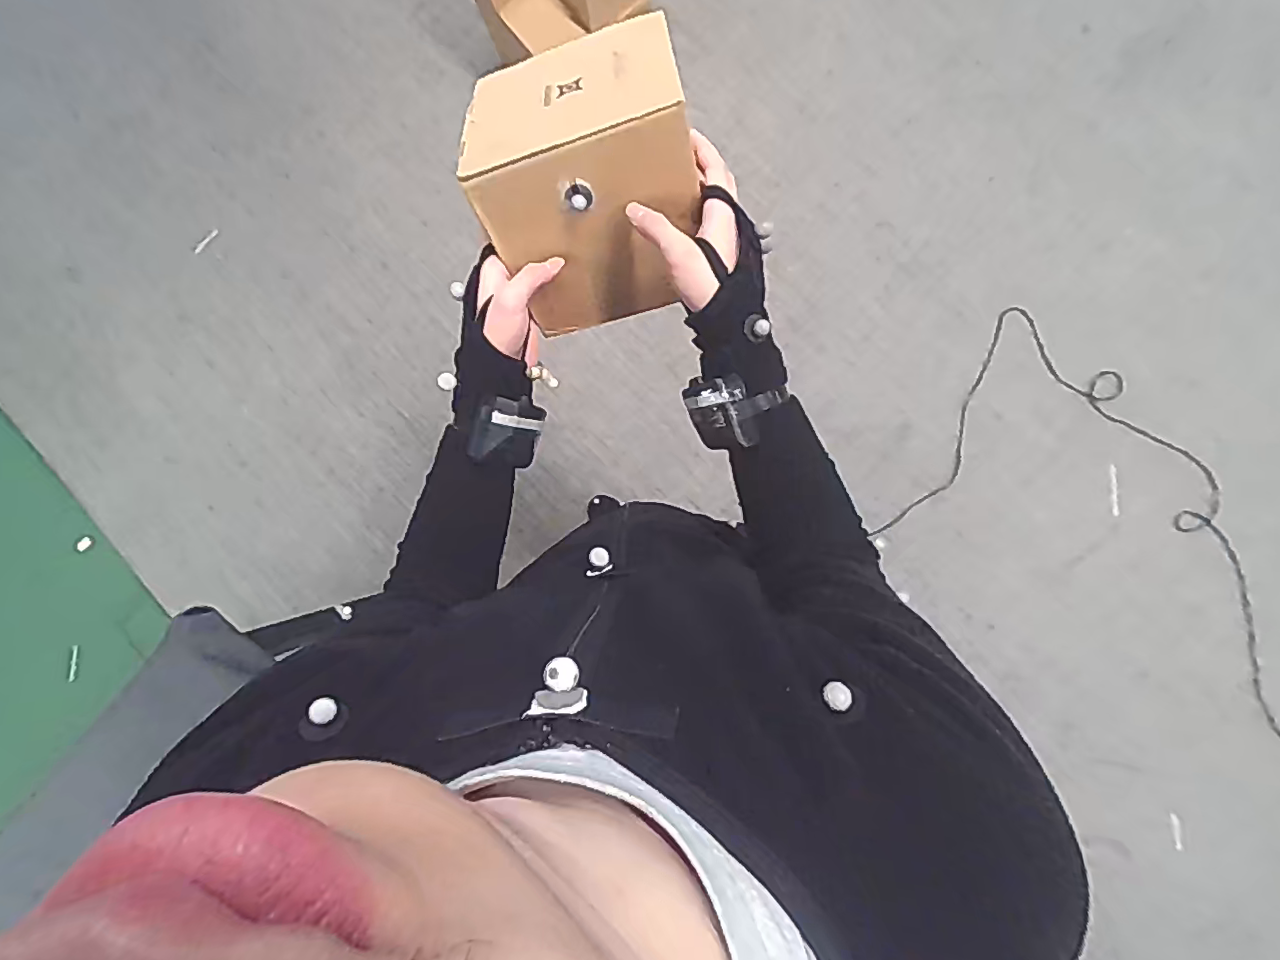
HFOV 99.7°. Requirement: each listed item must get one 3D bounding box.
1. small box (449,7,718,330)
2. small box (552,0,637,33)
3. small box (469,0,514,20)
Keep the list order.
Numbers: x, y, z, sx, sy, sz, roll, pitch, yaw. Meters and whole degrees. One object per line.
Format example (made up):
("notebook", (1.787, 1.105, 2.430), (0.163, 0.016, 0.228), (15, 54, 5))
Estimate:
("small box", (-0.038, -0.258, 0.474), (0.179, 0.176, 0.168), (-12, 57, 8))
("small box", (-0.119, -1.183, 1.249), (0.179, 0.176, 0.168), (-37, 84, 0))
("small box", (-0.369, -1.261, 1.274), (0.179, 0.176, 0.168), (-37, 84, 4))
